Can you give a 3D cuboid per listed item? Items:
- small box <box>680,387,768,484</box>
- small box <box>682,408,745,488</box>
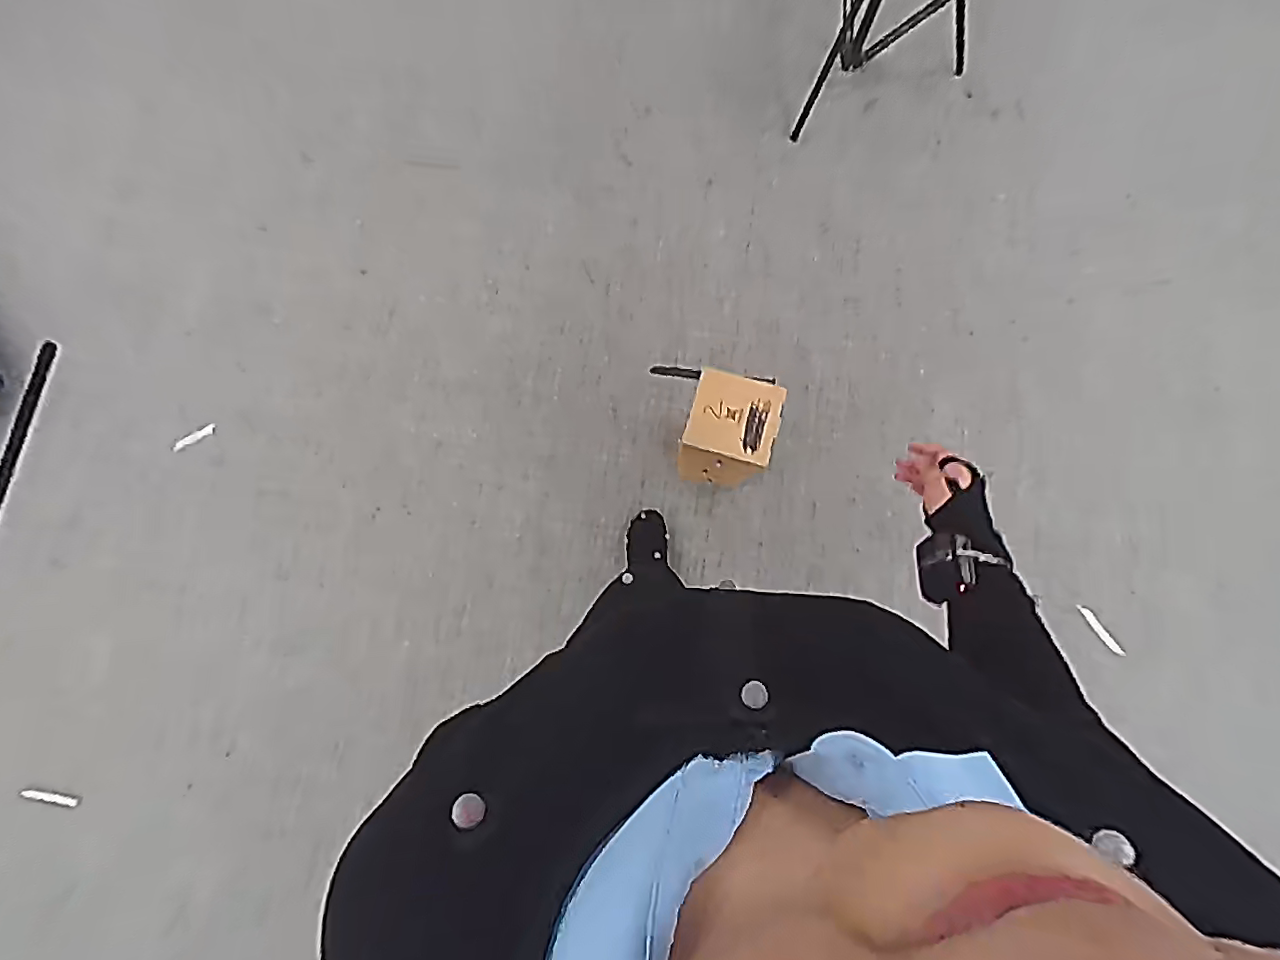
[{"bbox_3d":[0.196,-0.101,1.303,0.168,0.176,0.179,14,82,4],"label":"small box"},{"bbox_3d":[0.205,-0.080,1.464,0.168,0.176,0.179,7,81,2],"label":"small box"}]
